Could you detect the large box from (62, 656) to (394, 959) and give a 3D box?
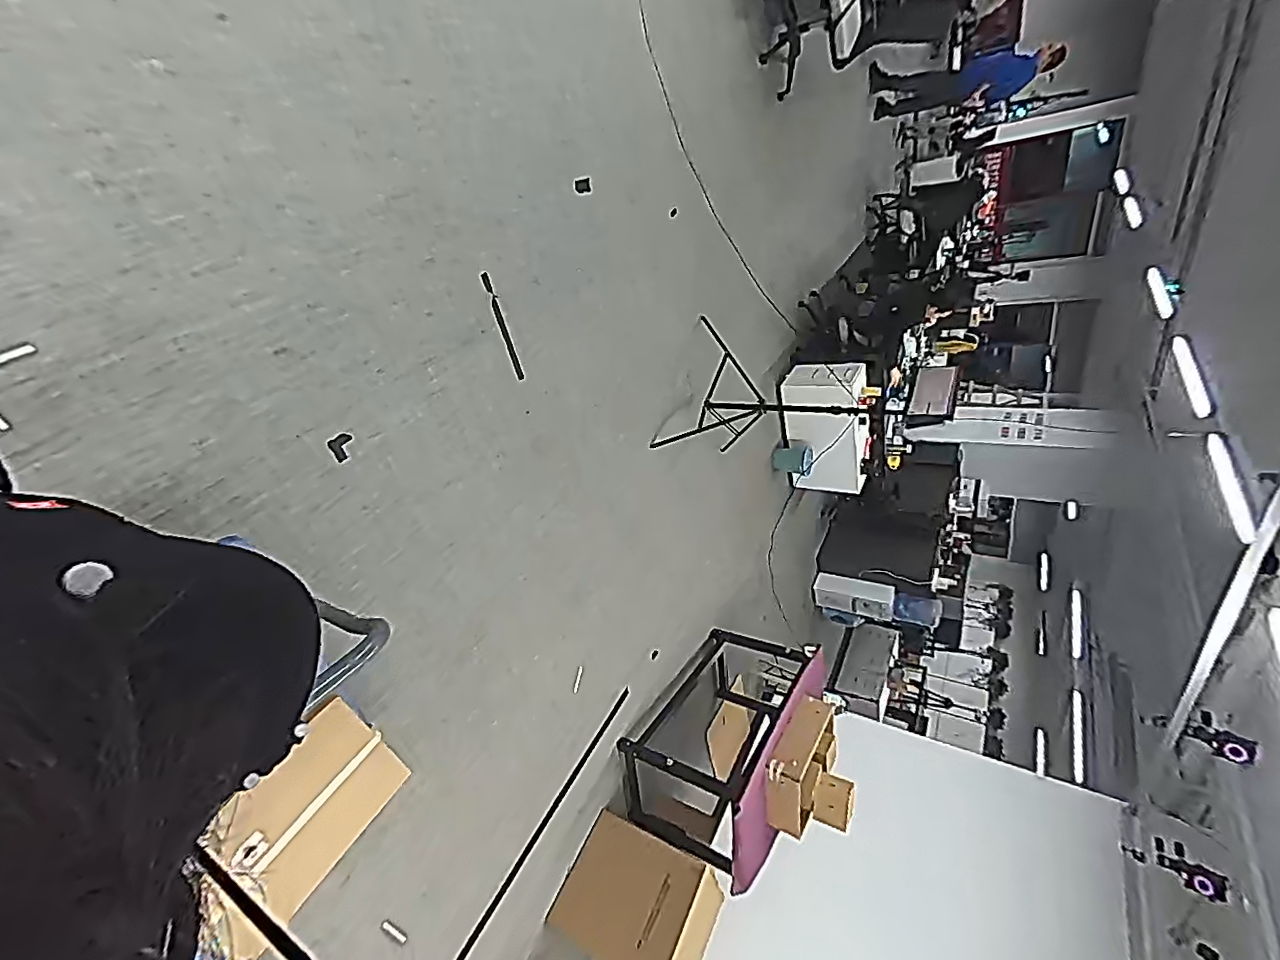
[{"bbox_3d":[-0.829,0.657,1.135,0.408,0.320,0.320,-49,133,-39],"label":"large box"}]
